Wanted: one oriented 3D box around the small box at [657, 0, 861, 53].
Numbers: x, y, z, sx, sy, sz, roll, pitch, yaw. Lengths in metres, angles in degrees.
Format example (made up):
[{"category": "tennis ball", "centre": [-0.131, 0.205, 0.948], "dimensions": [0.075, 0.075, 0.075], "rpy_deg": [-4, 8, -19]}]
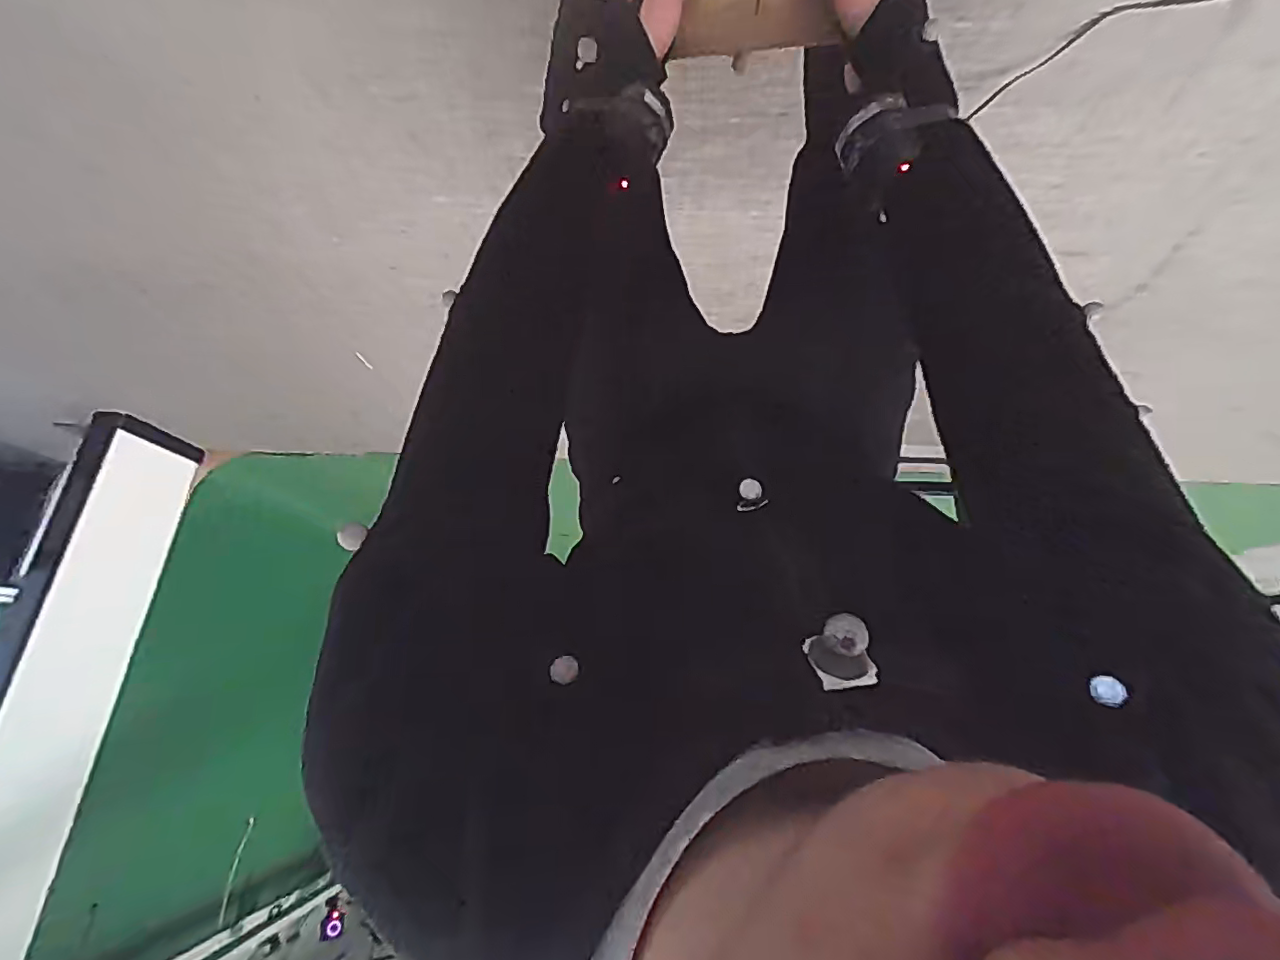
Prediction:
[{"category": "small box", "centre": [0.095, -0.481, 0.461], "dimensions": [0.168, 0.176, 0.179], "rpy_deg": [-1, 129, 6]}]
